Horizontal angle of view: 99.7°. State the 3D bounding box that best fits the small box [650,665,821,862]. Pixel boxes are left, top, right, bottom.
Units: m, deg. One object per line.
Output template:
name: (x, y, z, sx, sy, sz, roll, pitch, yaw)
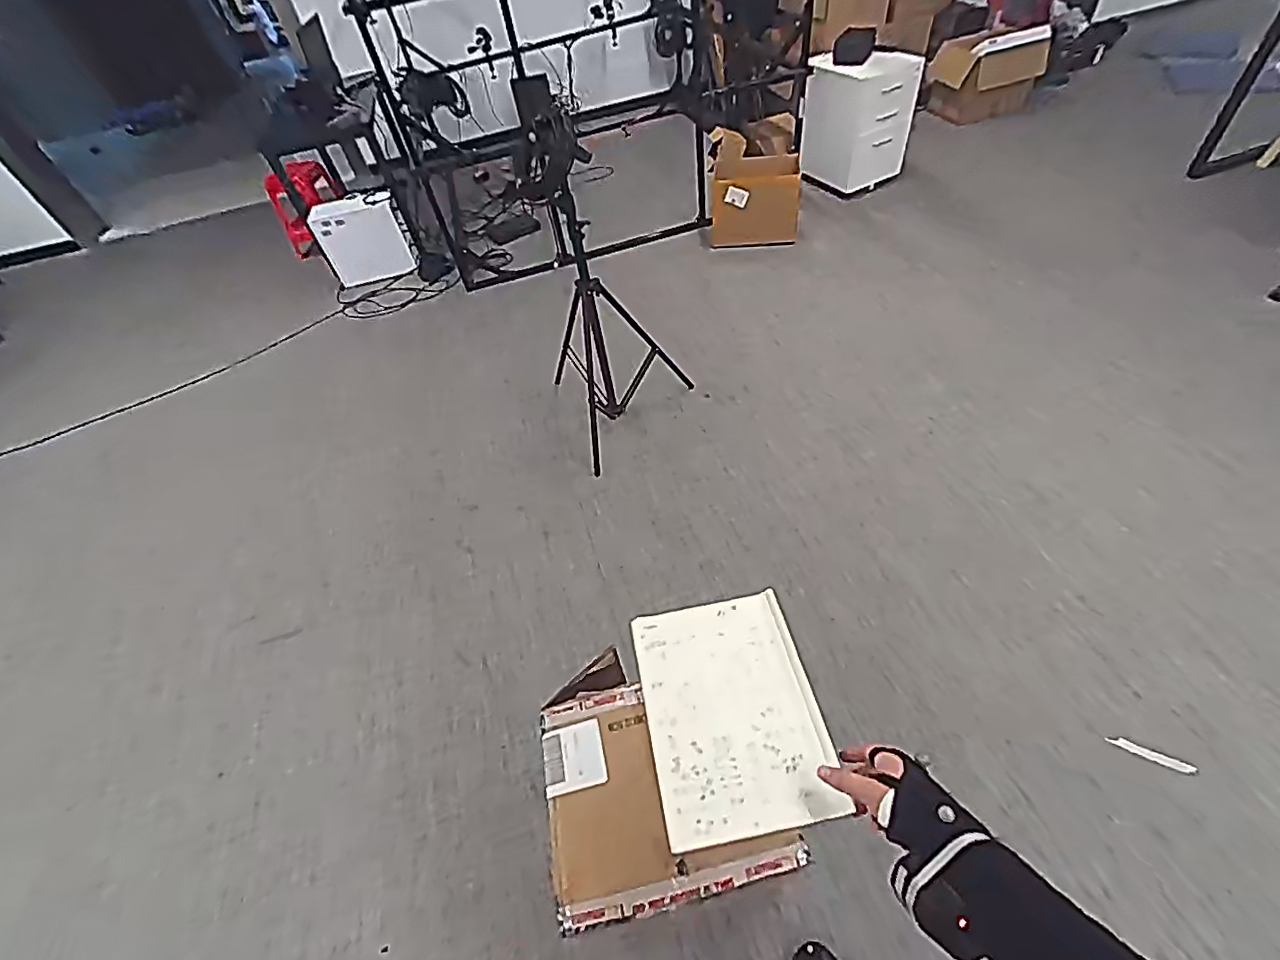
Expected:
small box: (0.109, 0.367, 0.697, 0.168, 0.176, 0.179, -11, 51, -3)
